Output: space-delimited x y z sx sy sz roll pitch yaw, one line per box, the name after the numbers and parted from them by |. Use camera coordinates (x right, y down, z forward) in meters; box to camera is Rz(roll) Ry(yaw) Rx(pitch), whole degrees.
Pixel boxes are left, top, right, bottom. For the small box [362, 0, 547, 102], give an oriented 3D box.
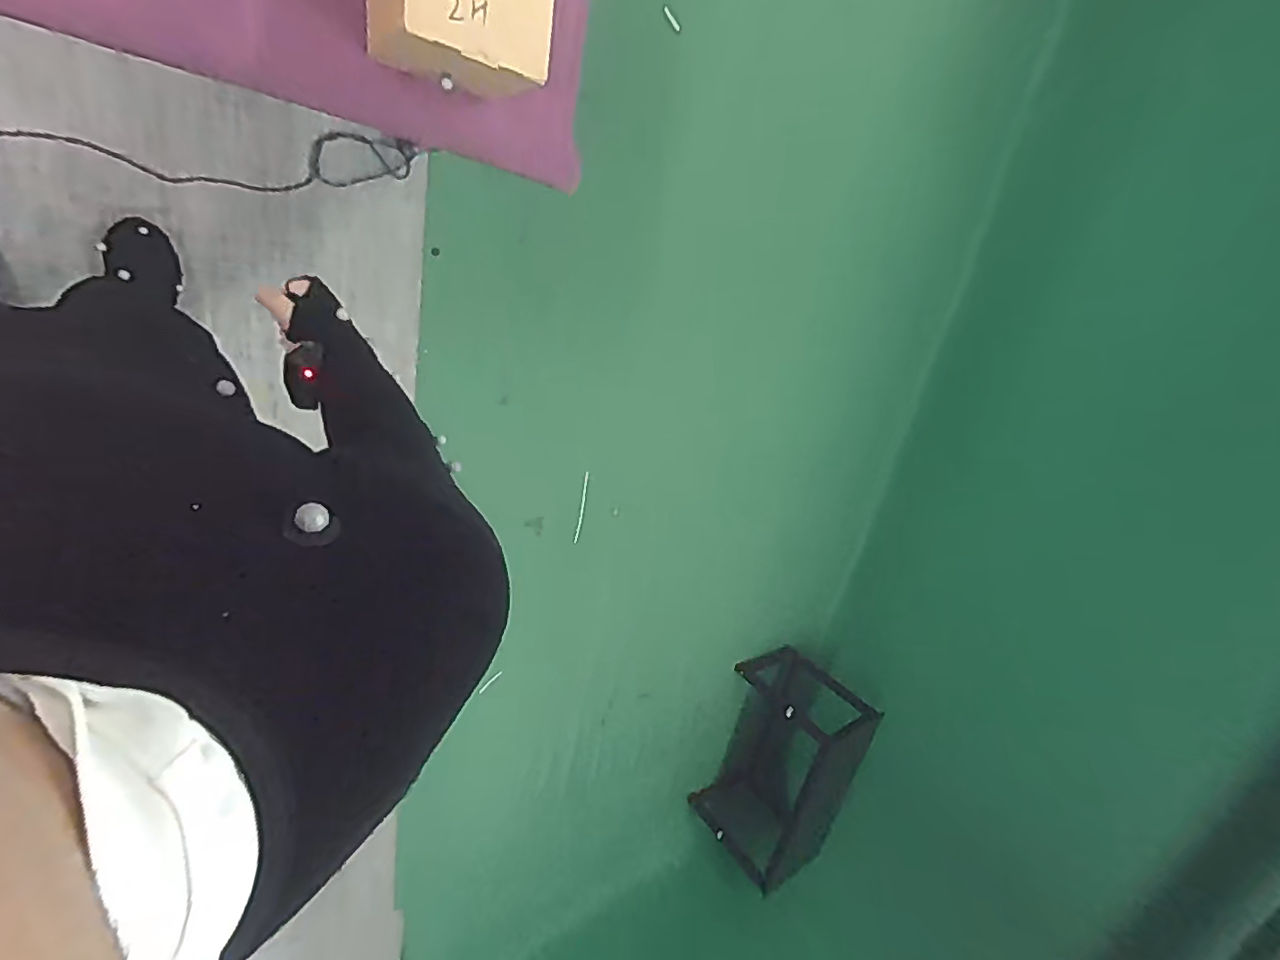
-0.222 -0.579 0.639 0.168 0.176 0.179 -6 118 -38 | small box
